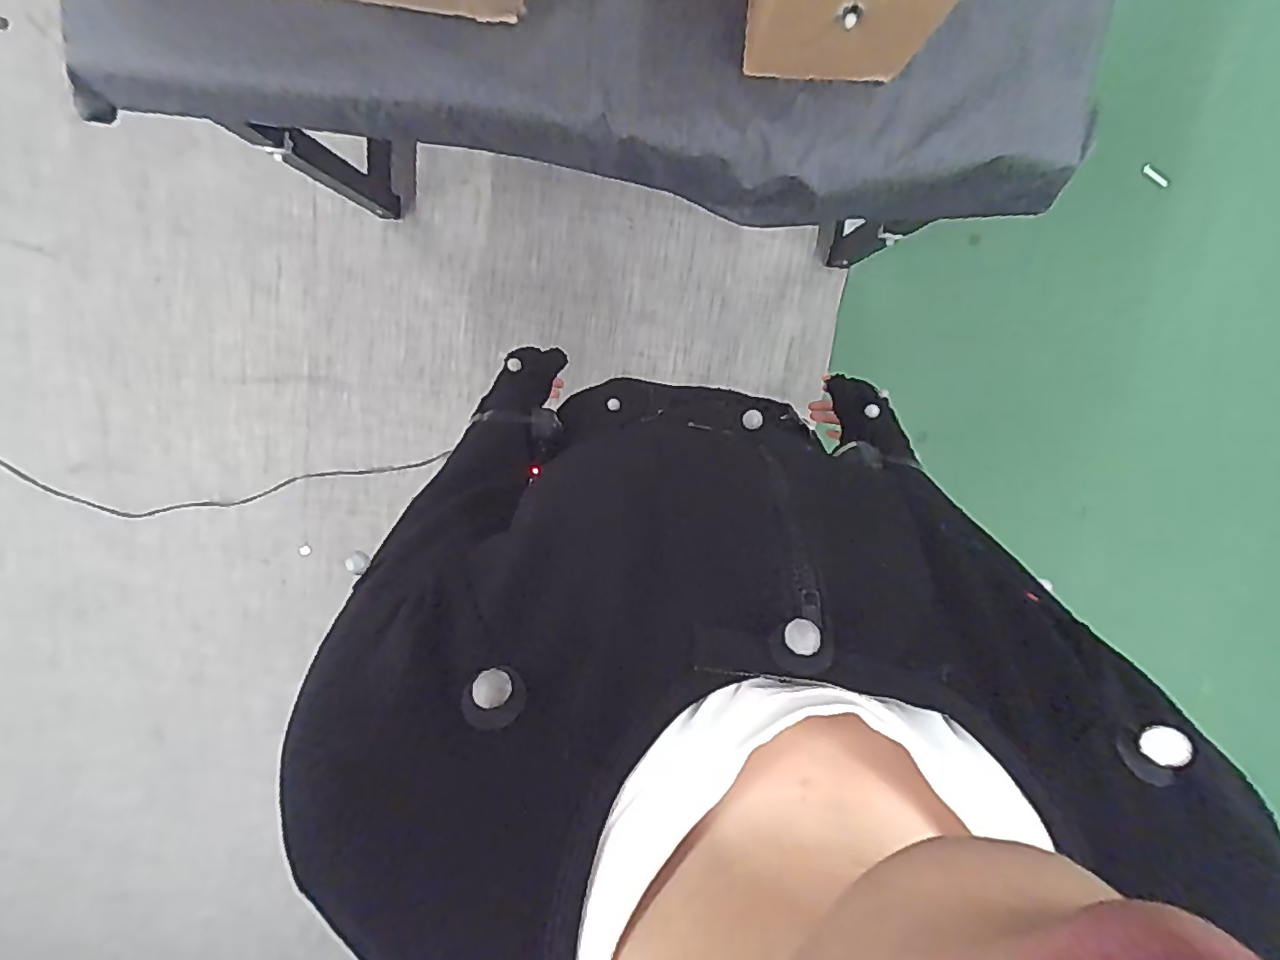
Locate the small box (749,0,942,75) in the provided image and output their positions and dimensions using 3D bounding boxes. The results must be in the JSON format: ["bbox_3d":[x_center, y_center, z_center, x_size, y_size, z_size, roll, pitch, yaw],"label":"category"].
[{"bbox_3d":[0.214,-0.543,0.544,0.179,0.176,0.168,3,102,-1],"label":"small box"}]
